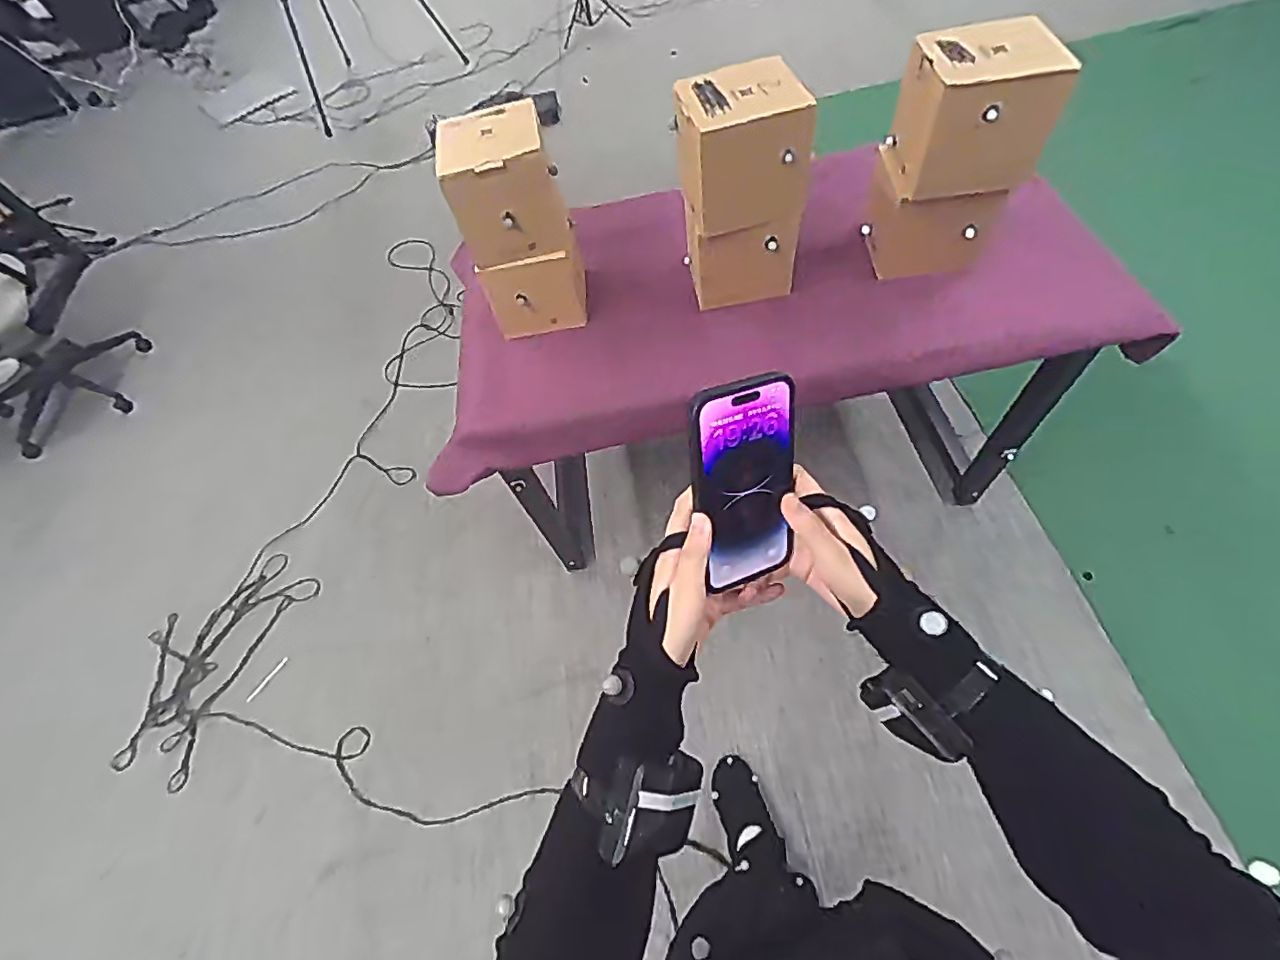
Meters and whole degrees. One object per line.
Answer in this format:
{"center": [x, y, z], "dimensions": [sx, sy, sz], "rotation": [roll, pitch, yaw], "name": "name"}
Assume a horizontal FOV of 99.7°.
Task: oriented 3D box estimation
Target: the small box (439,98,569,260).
{"center": [-0.224, -0.498, 0.916], "dimensions": [0.168, 0.176, 0.179], "rotation": [-13, 59, 1], "name": "small box"}

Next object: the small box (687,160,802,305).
{"center": [0.187, -0.455, 1.009], "dimensions": [0.179, 0.176, 0.168], "rotation": [-9, 59, 4], "name": "small box"}

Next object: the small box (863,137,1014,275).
{"center": [0.523, -0.498, 0.977], "dimensions": [0.179, 0.176, 0.168], "rotation": [-4, 59, 8], "name": "small box"}

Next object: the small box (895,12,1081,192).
{"center": [0.509, -0.569, 0.829], "dimensions": [0.179, 0.176, 0.168], "rotation": [-4, 59, 7], "name": "small box"}

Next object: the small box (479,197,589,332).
{"center": [-0.198, -0.408, 1.052], "dimensions": [0.168, 0.176, 0.179], "rotation": [-9, 59, 5], "name": "small box"}
